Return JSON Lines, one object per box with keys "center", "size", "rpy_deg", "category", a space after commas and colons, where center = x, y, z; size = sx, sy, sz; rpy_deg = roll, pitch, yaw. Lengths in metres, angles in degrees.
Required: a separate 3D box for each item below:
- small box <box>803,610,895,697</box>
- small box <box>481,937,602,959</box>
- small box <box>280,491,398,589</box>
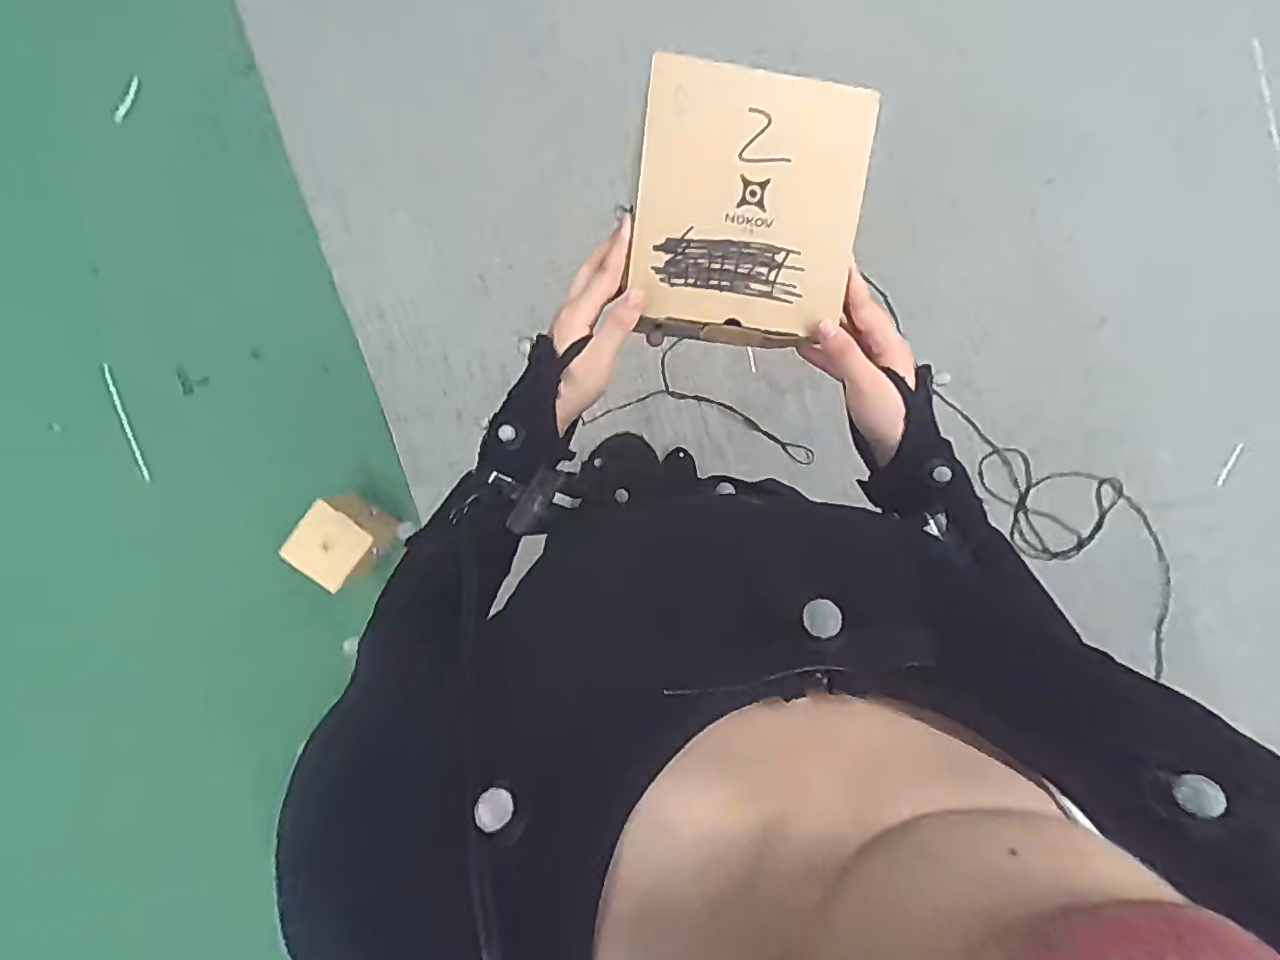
{"center": [0.553, 0.456, 1.445], "size": [0.179, 0.176, 0.168], "rpy_deg": [-5, 94, -2], "category": "small box"}
{"center": [-0.140, 0.750, 0.712], "size": [0.179, 0.176, 0.168], "rpy_deg": [3, 96, -3], "category": "small box"}
{"center": [-0.760, 0.147, 1.388], "size": [0.168, 0.176, 0.179], "rpy_deg": [37, 92, -4], "category": "small box"}
